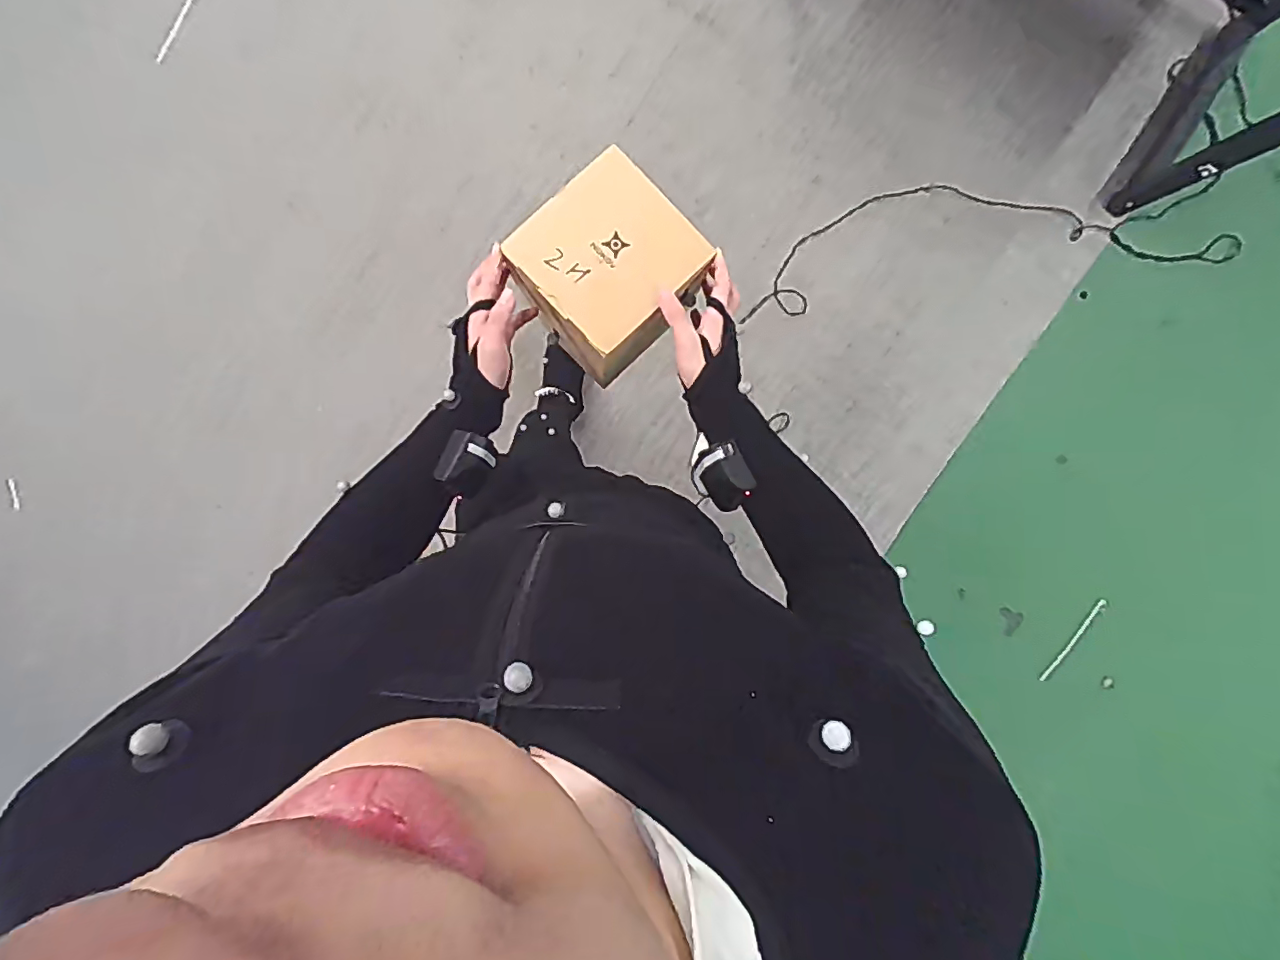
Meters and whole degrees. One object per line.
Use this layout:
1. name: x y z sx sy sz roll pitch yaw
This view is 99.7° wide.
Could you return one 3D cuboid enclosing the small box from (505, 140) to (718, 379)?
1. small box: -0.037 -0.252 0.662 0.179 0.176 0.168 -43 91 -5
